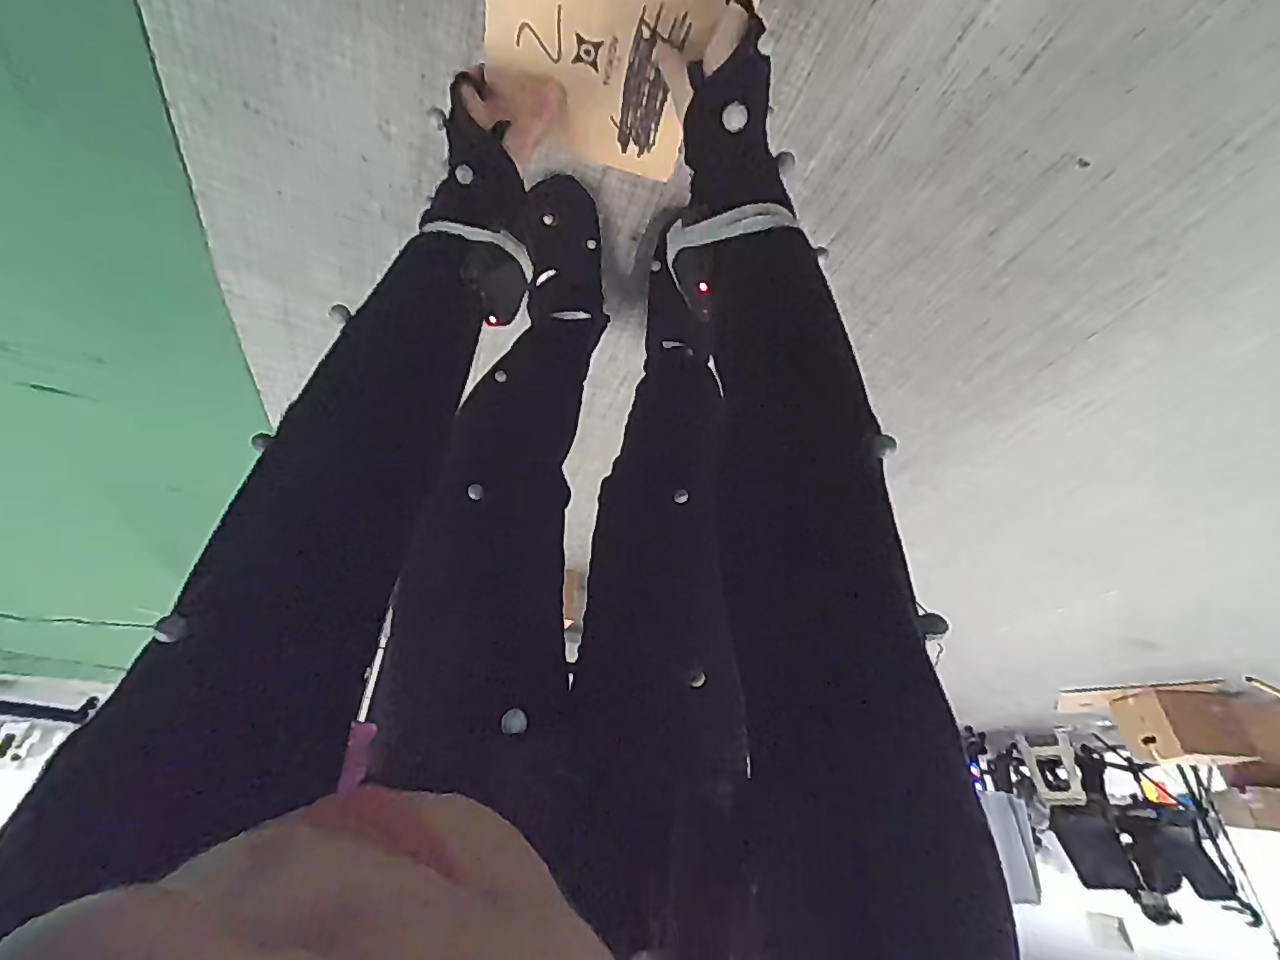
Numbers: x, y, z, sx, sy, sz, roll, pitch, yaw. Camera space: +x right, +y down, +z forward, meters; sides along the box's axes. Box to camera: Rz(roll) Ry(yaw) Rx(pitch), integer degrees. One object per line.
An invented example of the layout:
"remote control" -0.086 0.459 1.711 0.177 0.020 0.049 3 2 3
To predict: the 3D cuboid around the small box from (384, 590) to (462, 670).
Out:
"small box" -0.616 0.428 1.543 0.168 0.176 0.179 16 143 -21
